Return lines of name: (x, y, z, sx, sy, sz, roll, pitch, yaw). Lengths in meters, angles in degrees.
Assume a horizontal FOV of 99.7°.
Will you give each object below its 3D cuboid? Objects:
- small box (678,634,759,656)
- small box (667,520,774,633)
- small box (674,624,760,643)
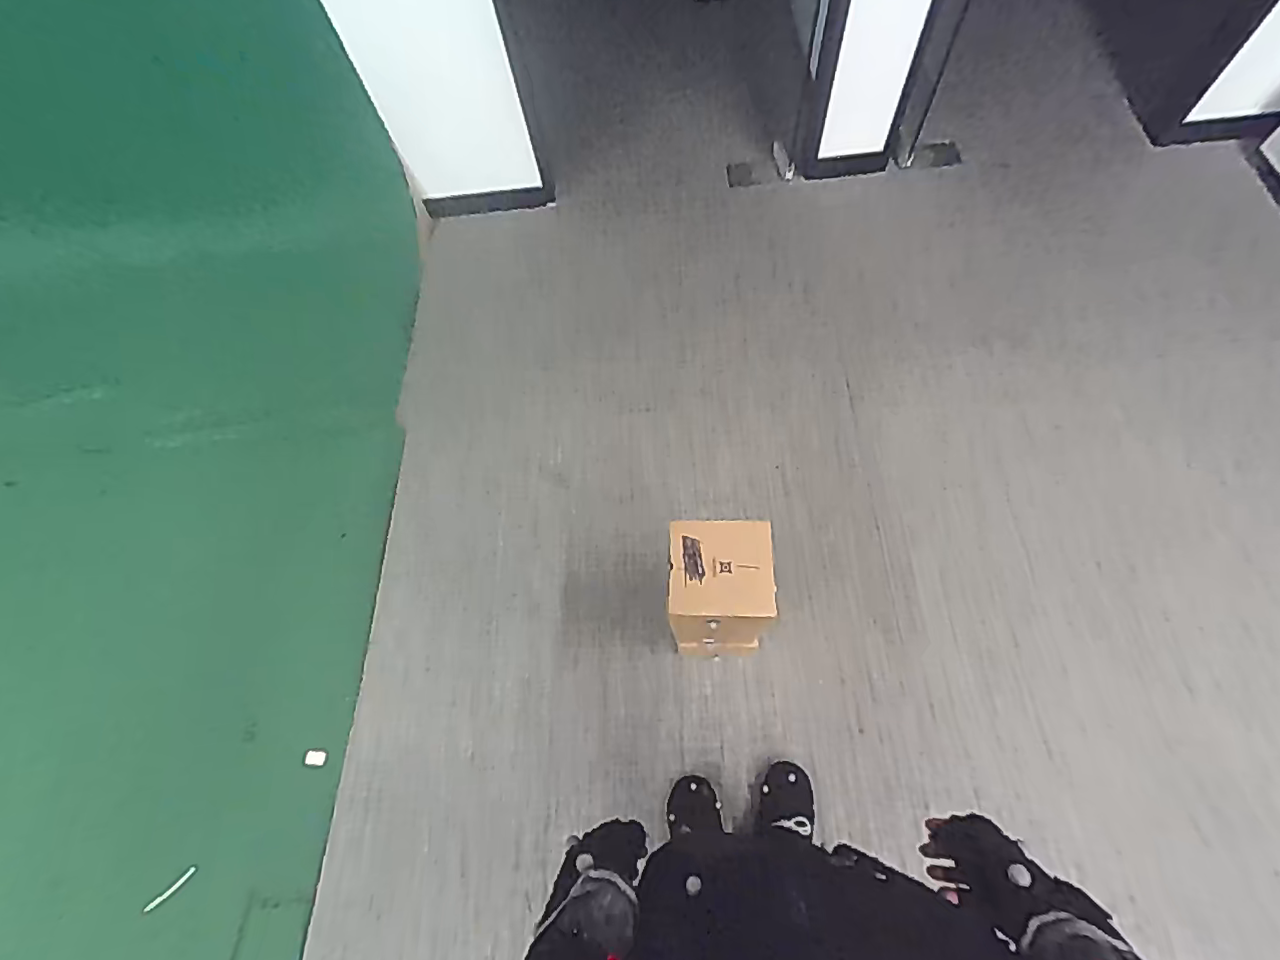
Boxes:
small box: (0.178, 0.319, 1.275, 0.179, 0.176, 0.168, -1, 65, 5)
small box: (0.144, 0.179, 0.981, 0.179, 0.176, 0.168, 0, 65, 7)
small box: (0.157, 0.240, 1.134, 0.168, 0.176, 0.179, -2, 66, 7)
